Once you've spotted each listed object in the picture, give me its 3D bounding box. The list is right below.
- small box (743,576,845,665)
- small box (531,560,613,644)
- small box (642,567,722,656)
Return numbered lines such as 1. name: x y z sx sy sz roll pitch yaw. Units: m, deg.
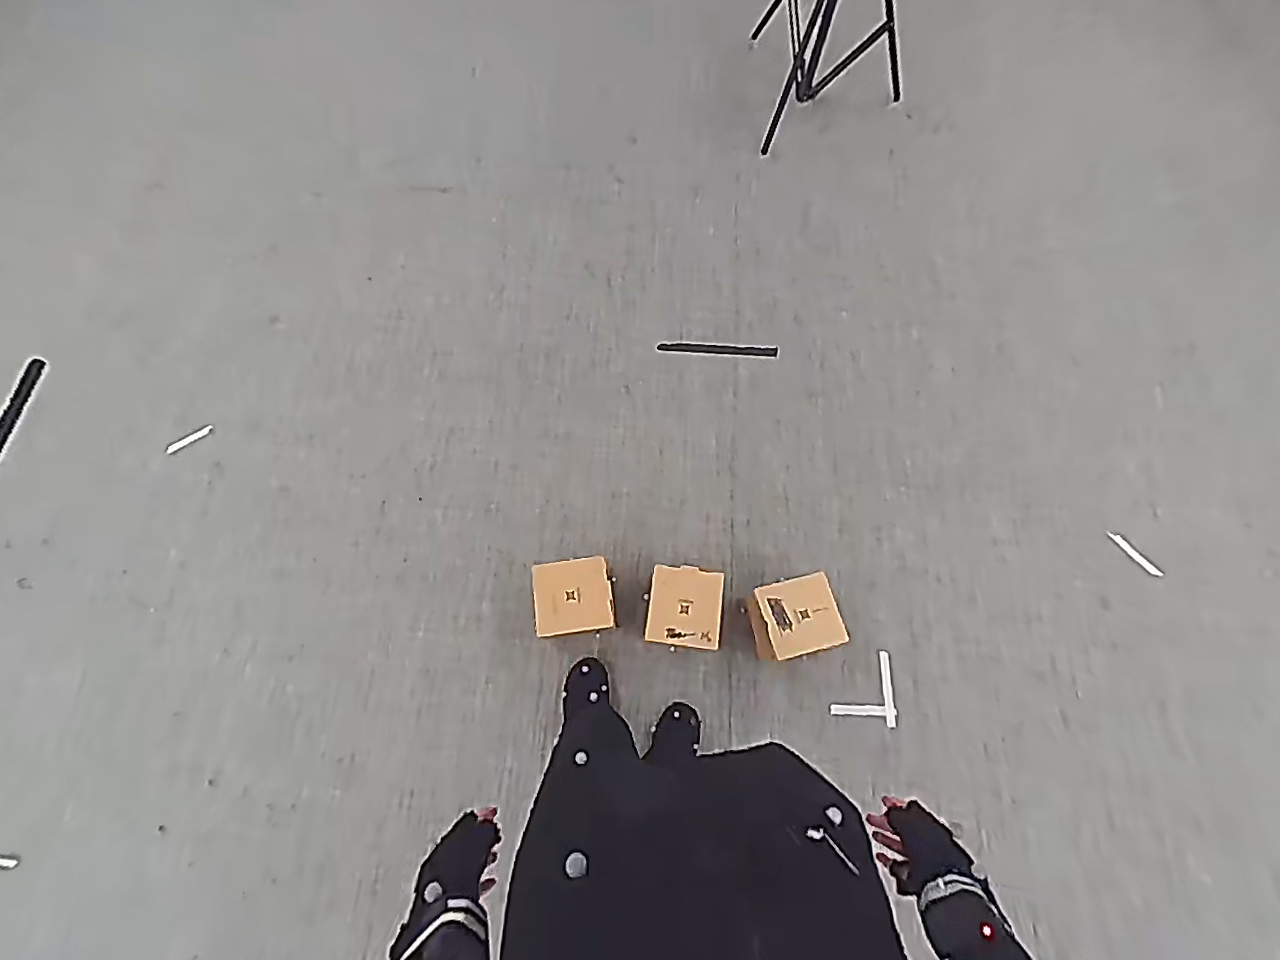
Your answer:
1. small box: 0.357 0.343 1.302 0.179 0.176 0.168 -13 71 -6
2. small box: -0.159 0.299 1.311 0.179 0.176 0.168 -8 70 -3
3. small box: 0.097 0.322 1.307 0.168 0.176 0.179 8 70 2
